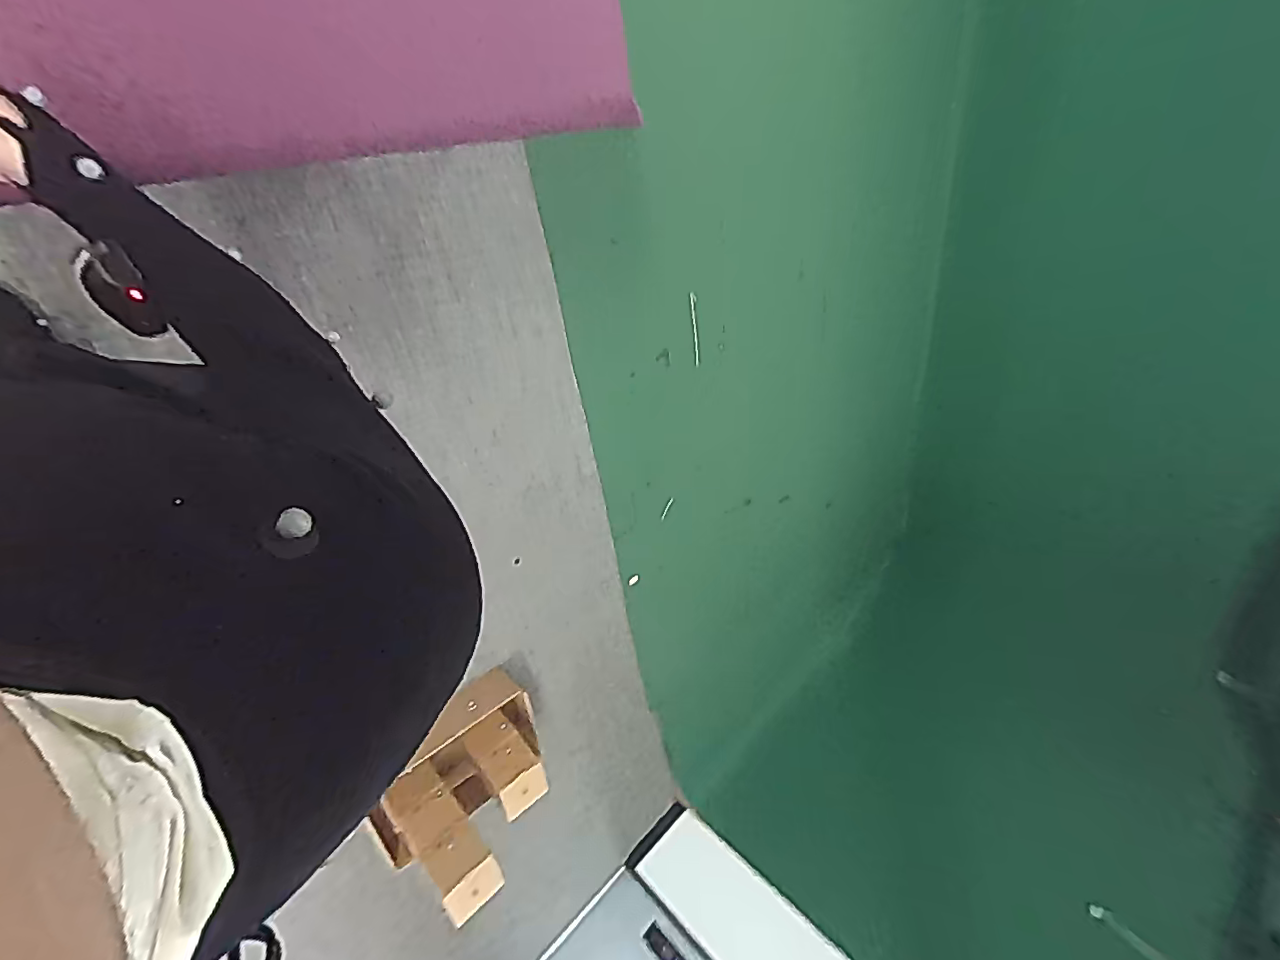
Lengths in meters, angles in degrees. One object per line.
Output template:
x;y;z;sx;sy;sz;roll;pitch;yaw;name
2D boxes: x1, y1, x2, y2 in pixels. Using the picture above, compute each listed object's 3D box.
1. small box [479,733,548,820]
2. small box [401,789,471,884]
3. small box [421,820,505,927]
-0.455;1.056;1.939;0.168;0.176;0.179;-27;125;-35;small box
-0.659;1.159;1.775;0.168;0.176;0.179;-27;125;-37;small box
-0.544;1.202;1.665;0.168;0.176;0.179;-30;125;-37;small box
